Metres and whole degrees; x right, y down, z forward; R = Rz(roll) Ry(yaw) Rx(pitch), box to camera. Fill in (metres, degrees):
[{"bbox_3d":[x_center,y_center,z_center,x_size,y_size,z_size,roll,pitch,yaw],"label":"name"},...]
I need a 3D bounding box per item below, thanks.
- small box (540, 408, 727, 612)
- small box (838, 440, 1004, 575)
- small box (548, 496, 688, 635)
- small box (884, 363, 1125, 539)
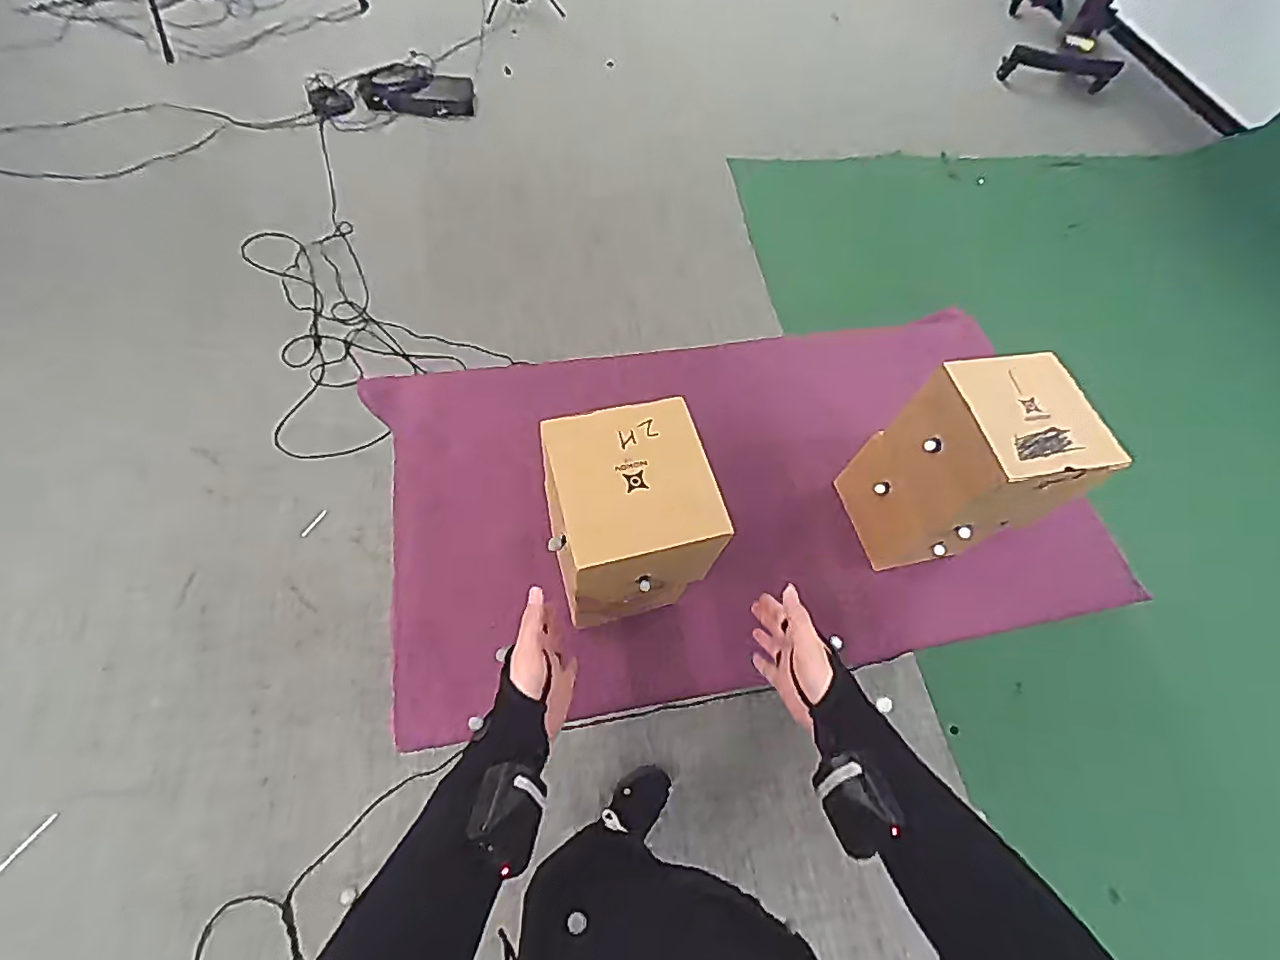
[{"bbox_3d":[-0.016,0.044,0.636,0.168,0.176,0.179,-11,64,-12],"label":"small box"},{"bbox_3d":[0.451,0.041,0.871,0.168,0.176,0.179,-10,61,-10],"label":"small box"},{"bbox_3d":[-0.035,0.108,0.791,0.168,0.176,0.179,-13,65,-11],"label":"small box"},{"bbox_3d":[0.465,-0.030,0.723,0.168,0.176,0.179,-6,61,-9],"label":"small box"}]
